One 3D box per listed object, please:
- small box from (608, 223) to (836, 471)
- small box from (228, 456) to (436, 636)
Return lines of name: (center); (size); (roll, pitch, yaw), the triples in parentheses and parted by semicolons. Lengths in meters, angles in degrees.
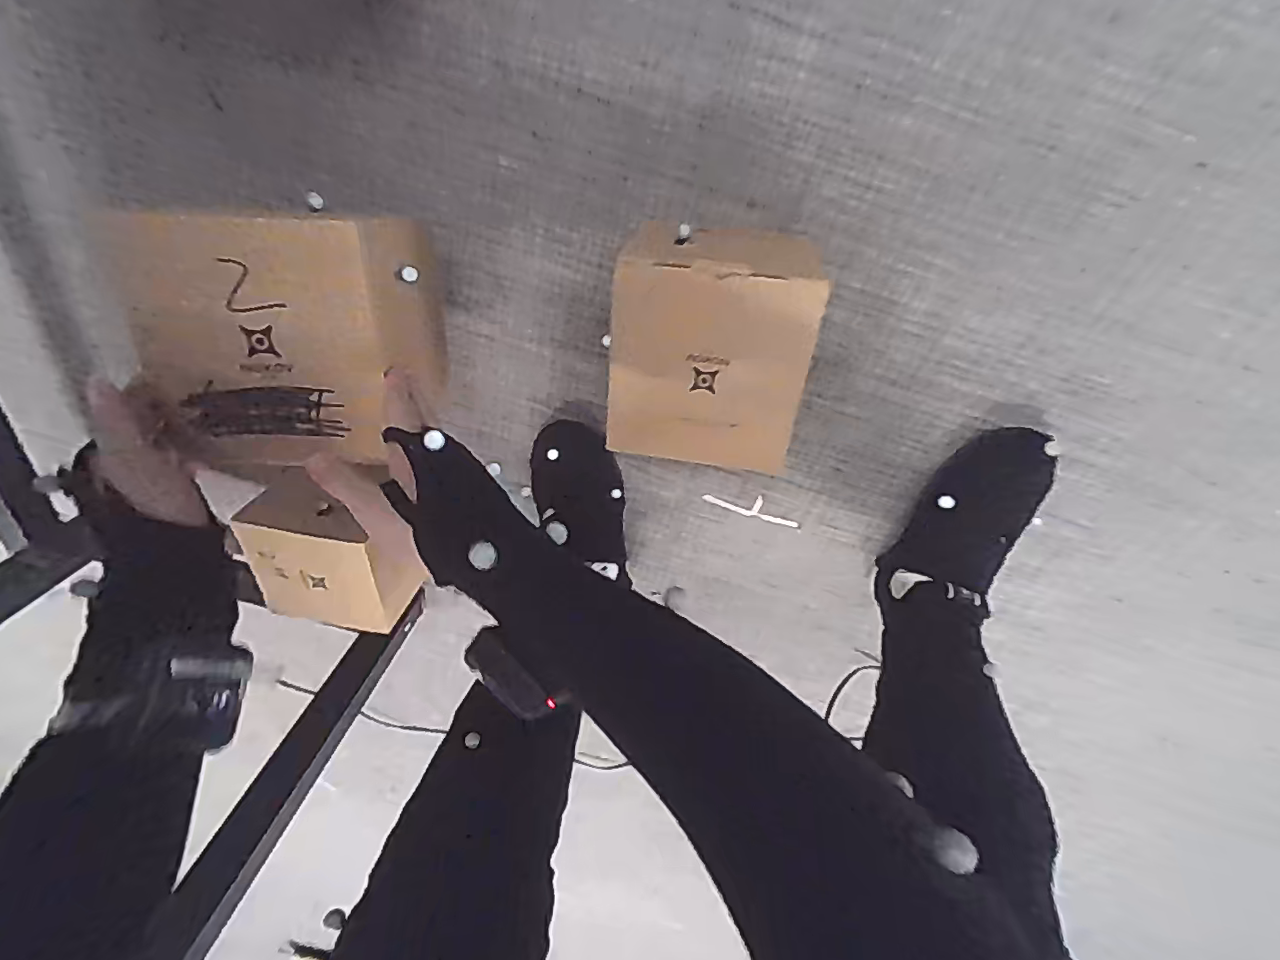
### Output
small box: (0.069, -0.135, 0.515); (0.168, 0.176, 0.179); (9, 125, 5)
small box: (-0.397, 0.083, 0.740); (0.179, 0.176, 0.168); (9, 124, 4)
